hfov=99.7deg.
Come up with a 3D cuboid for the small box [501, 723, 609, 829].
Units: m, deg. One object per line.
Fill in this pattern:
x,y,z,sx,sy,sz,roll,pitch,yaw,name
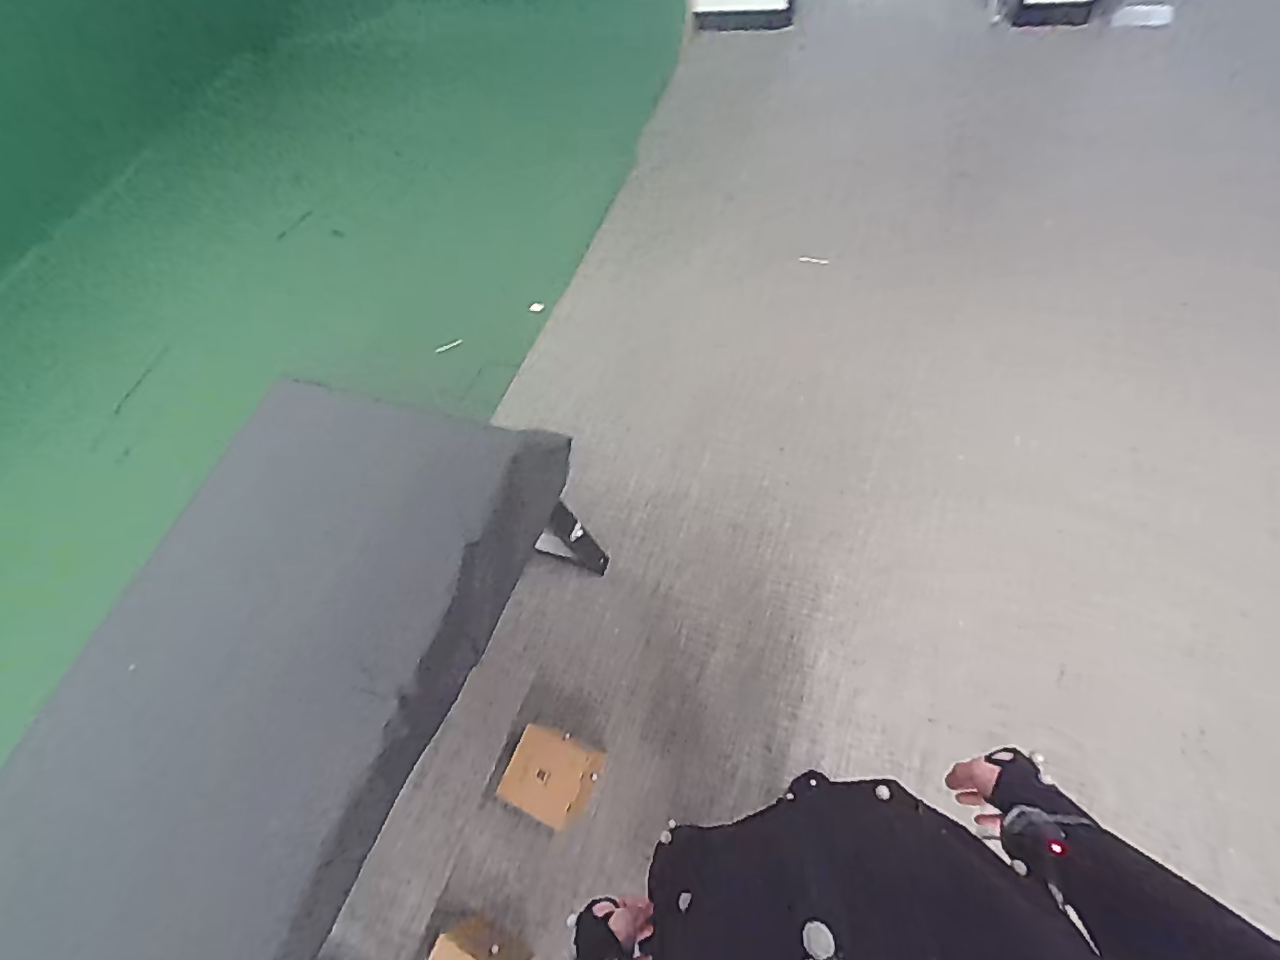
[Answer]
-0.197,0.709,1.313,0.179,0.176,0.168,17,68,21,small box
